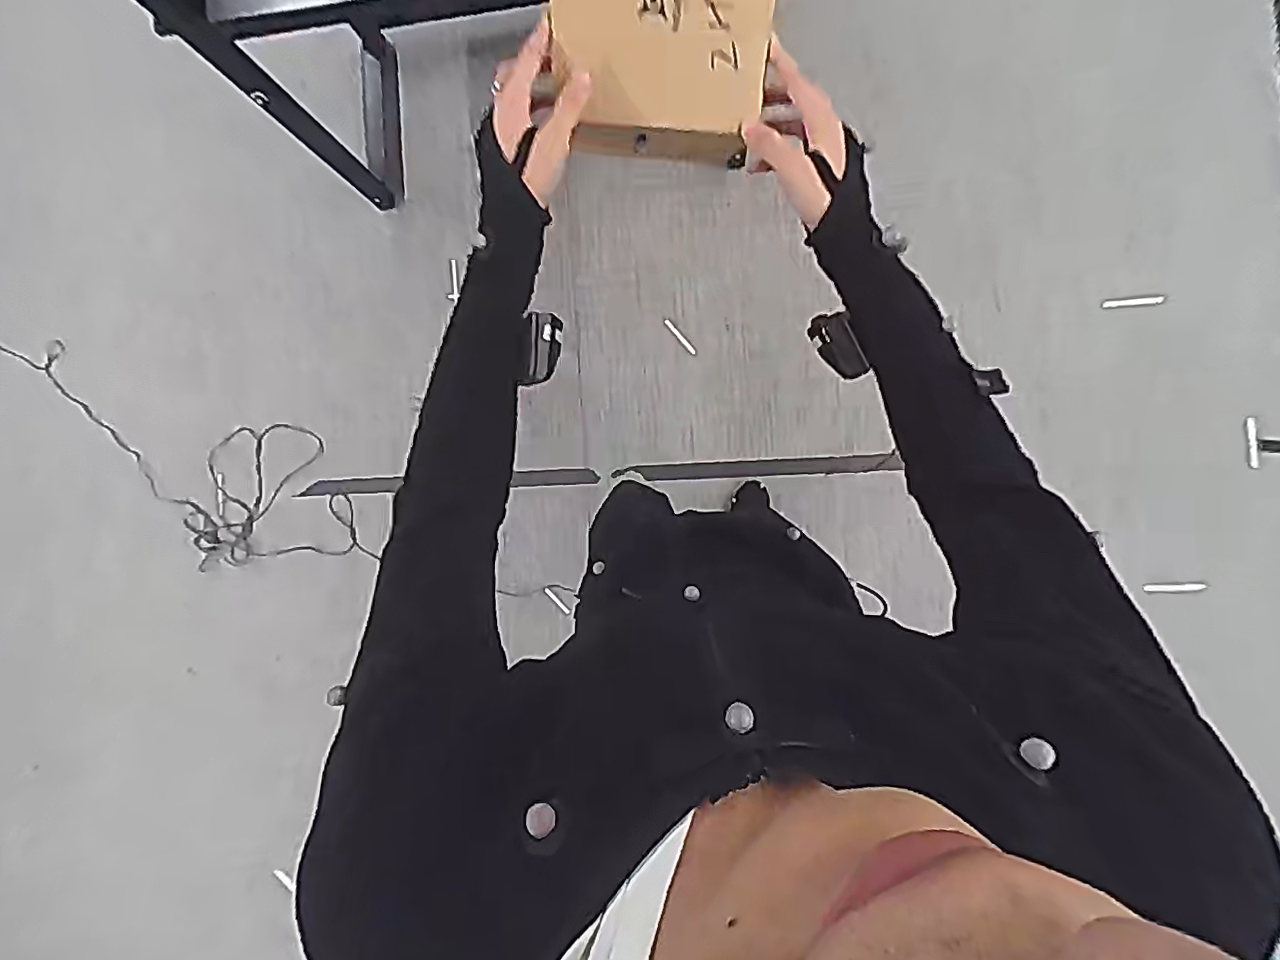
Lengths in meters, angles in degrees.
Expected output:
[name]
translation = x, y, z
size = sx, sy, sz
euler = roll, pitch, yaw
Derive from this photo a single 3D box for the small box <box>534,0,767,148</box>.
[small box]
translation = 0.006, -0.401, 0.471
size = 0.179, 0.176, 0.168
euler = 2, 114, -5
